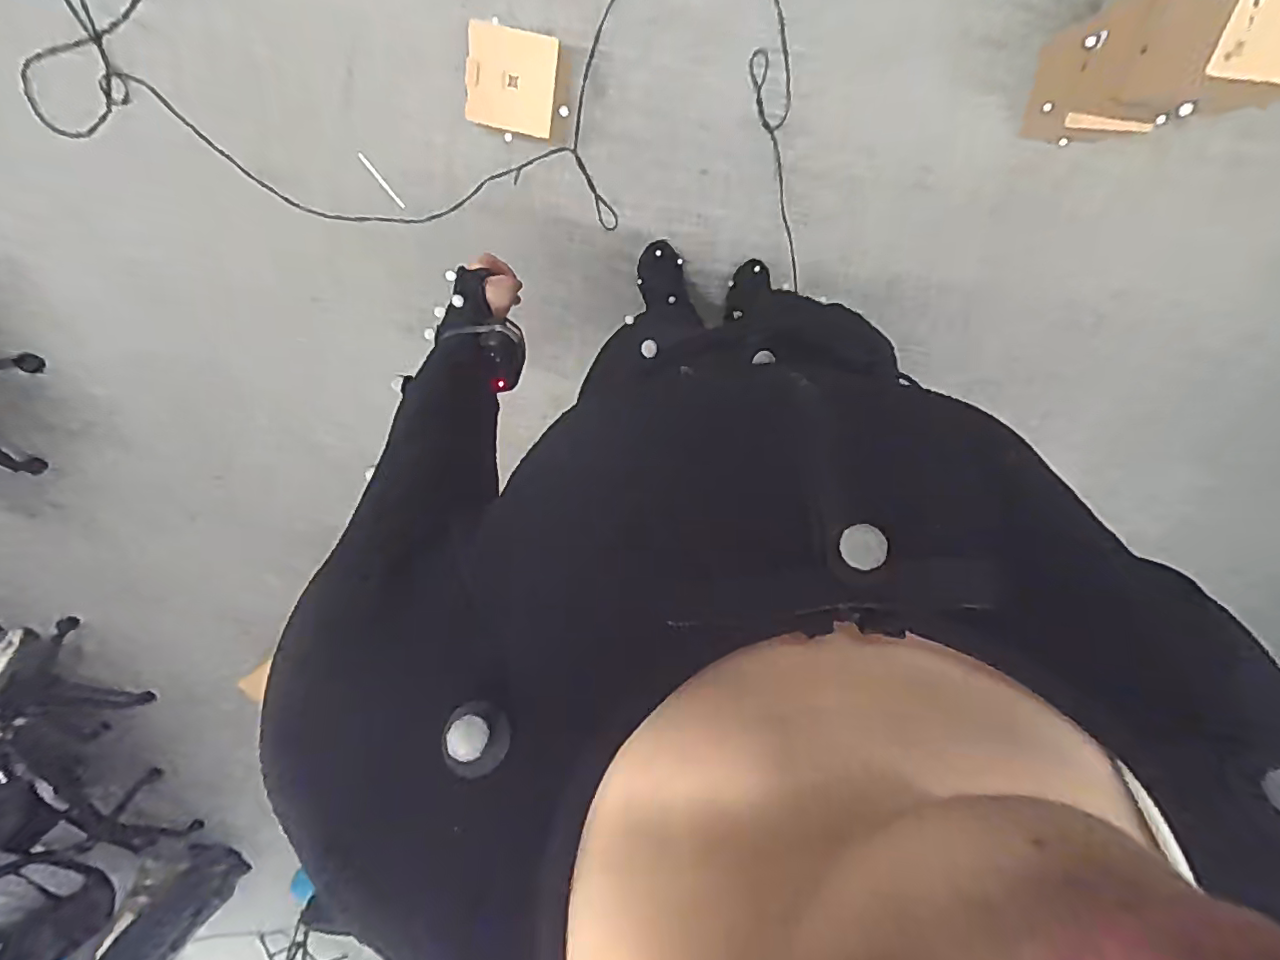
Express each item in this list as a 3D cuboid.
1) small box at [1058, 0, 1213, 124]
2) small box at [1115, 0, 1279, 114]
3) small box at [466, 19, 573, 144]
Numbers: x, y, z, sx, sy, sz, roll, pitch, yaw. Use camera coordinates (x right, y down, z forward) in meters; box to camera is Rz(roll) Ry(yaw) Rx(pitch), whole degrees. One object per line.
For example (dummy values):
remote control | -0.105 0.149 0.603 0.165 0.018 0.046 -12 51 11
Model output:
small box | 0.867 -0.712 0.905 0.179 0.176 0.168 9 116 1
small box | 0.849 -0.634 0.762 0.179 0.176 0.168 8 116 0
small box | -0.244 -0.810 1.119 0.179 0.176 0.168 12 116 -1
